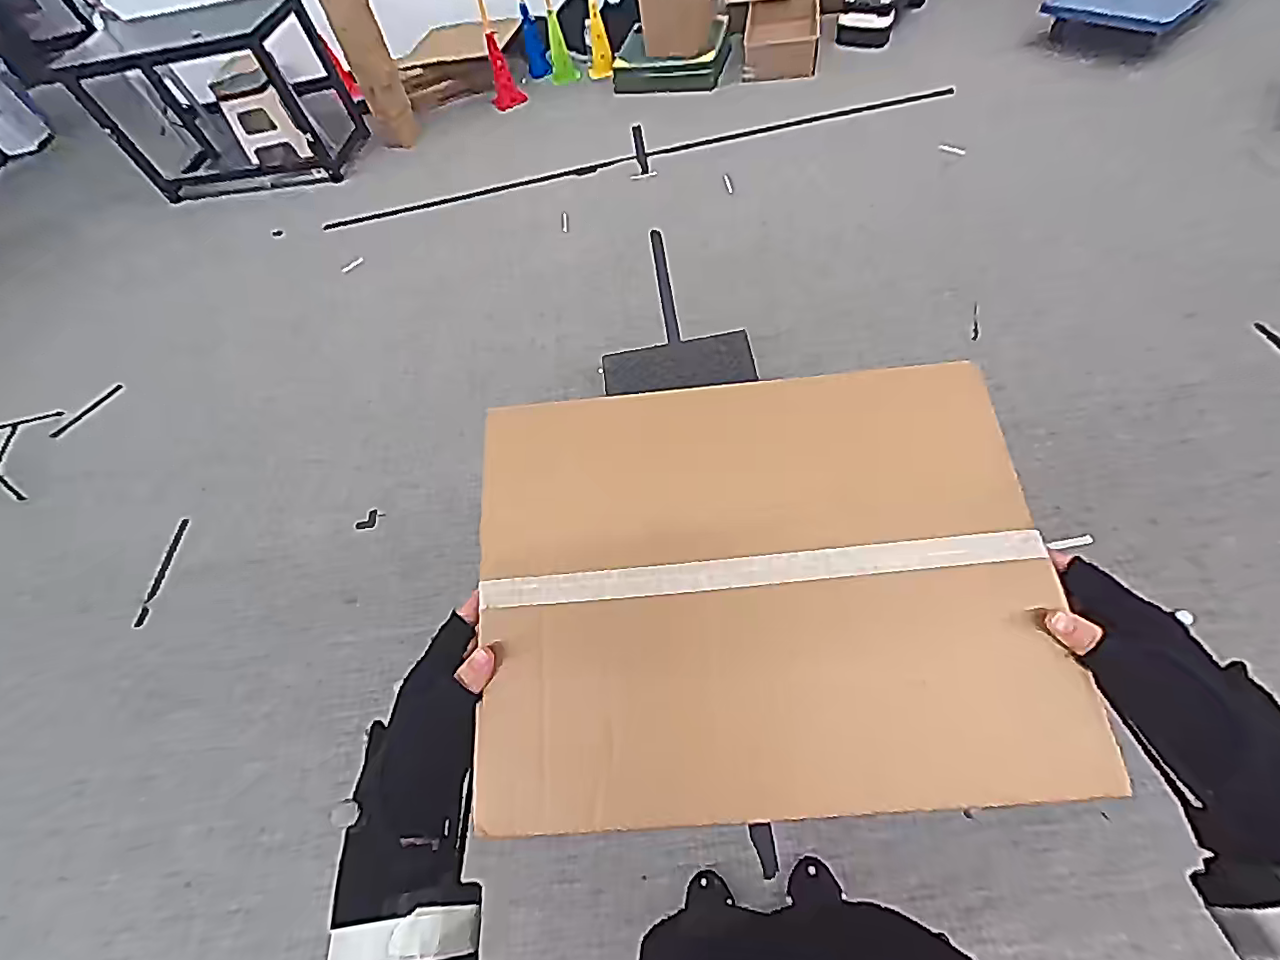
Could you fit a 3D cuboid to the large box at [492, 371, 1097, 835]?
[{"bbox_3d":[0.098,0.125,0.544,0.408,0.320,0.320,-6,68,3],"label":"large box"}]
